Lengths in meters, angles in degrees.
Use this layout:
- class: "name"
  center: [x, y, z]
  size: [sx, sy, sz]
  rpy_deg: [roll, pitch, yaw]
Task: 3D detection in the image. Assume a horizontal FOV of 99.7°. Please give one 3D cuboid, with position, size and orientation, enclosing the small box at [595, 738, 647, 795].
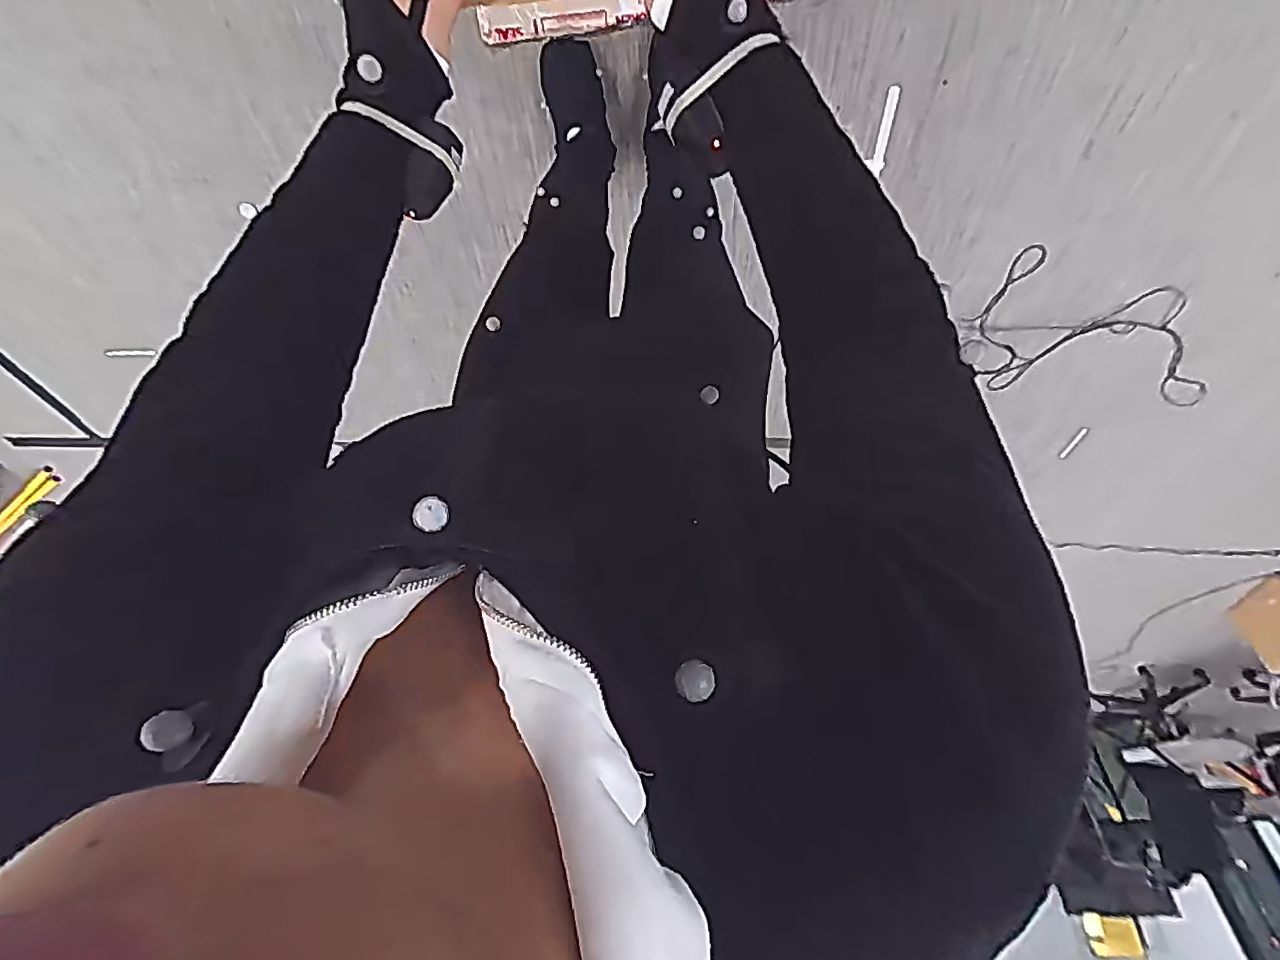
- class: "small box"
  center: [-0.069, 1.077, 2.031]
  size: [0.179, 0.176, 0.168]
  rpy_deg: [-4, 141, 6]
